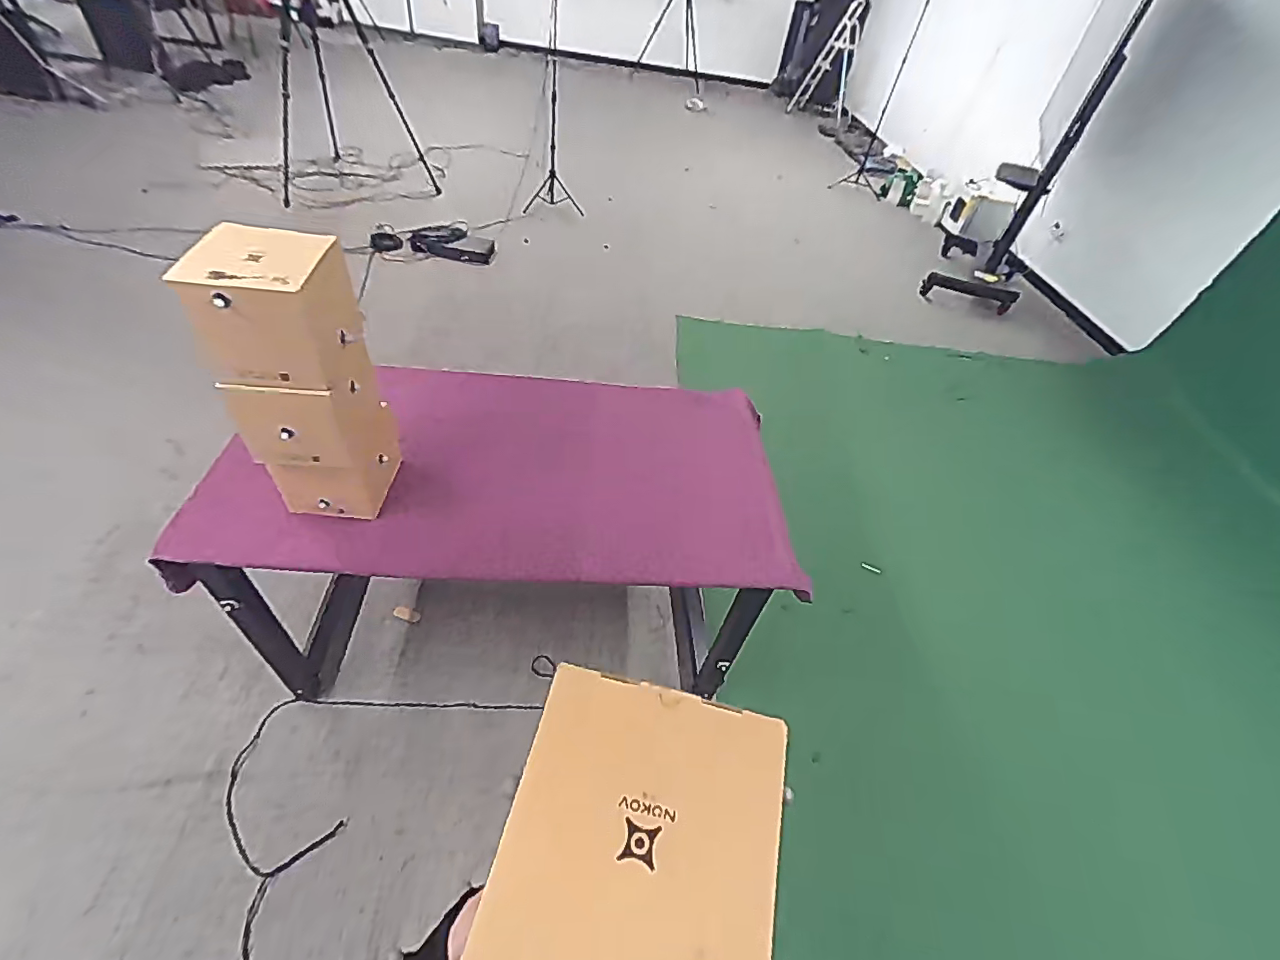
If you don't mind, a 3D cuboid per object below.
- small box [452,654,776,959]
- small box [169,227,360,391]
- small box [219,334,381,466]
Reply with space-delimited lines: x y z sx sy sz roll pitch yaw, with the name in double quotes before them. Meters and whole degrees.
"small box" -0.007 0.258 0.398 0.168 0.176 0.179 12 53 6
"small box" -0.549 -0.259 0.825 0.168 0.176 0.179 3 47 -8
"small box" -0.570 -0.142 0.939 0.168 0.176 0.179 4 47 -8
